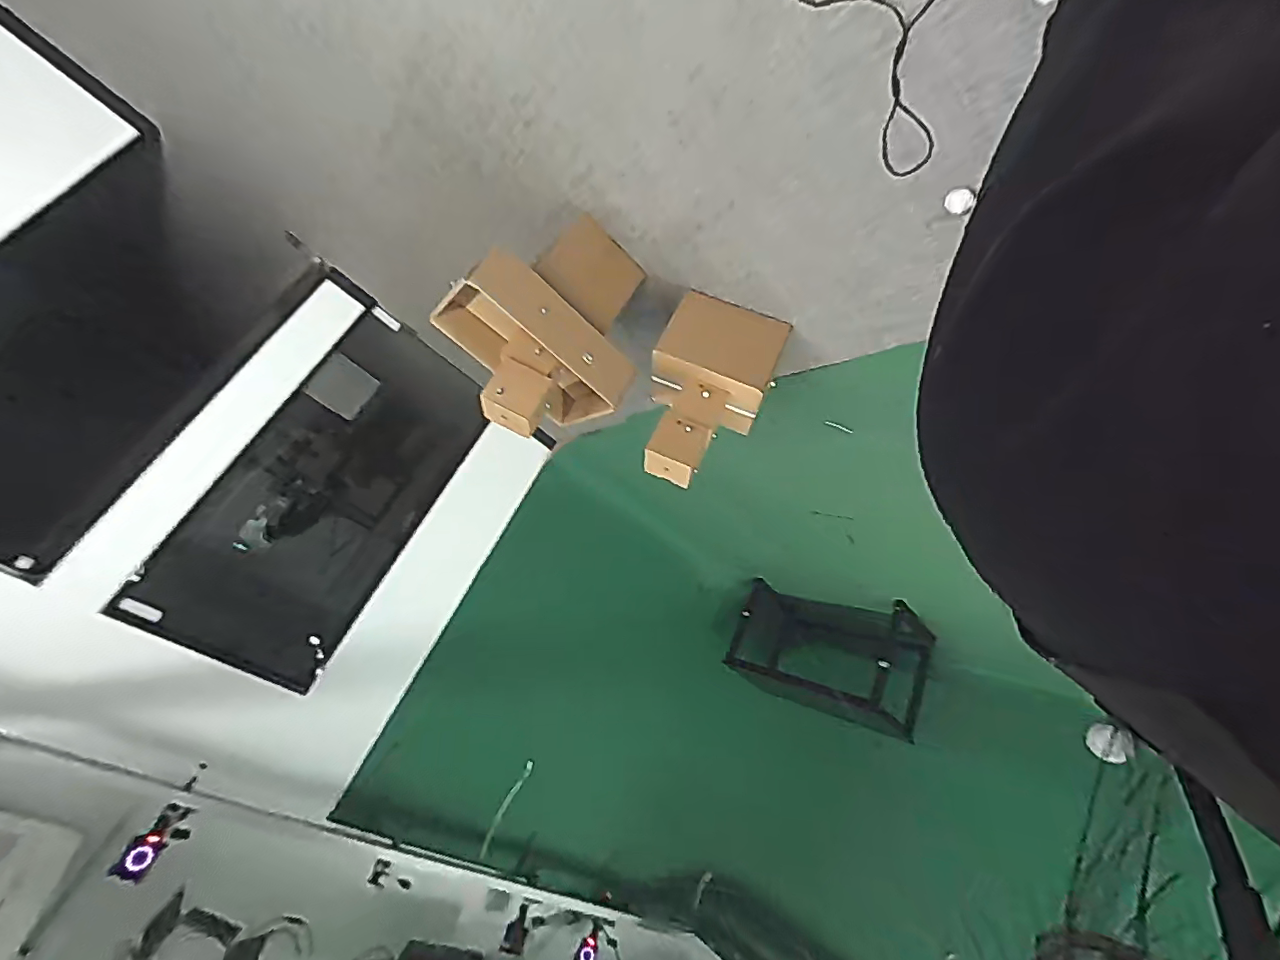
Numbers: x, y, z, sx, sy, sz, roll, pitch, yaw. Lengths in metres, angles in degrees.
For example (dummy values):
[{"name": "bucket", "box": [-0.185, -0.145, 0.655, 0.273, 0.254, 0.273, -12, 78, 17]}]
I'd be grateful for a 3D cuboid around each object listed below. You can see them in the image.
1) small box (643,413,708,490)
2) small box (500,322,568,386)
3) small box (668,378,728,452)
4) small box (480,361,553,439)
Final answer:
[{"name": "small box", "box": [0.122, -0.098, 1.849, 0.168, 0.176, 0.179, 24, 157, 9]}, {"name": "small box", "box": [-0.363, -0.416, 1.874, 0.179, 0.176, 0.168, 27, 156, 0]}, {"name": "small box", "box": [0.196, -0.227, 1.915, 0.168, 0.176, 0.179, 25, 157, 7]}, {"name": "small box", "box": [-0.411, -0.272, 1.805, 0.179, 0.176, 0.168, 27, 158, -1]}]
